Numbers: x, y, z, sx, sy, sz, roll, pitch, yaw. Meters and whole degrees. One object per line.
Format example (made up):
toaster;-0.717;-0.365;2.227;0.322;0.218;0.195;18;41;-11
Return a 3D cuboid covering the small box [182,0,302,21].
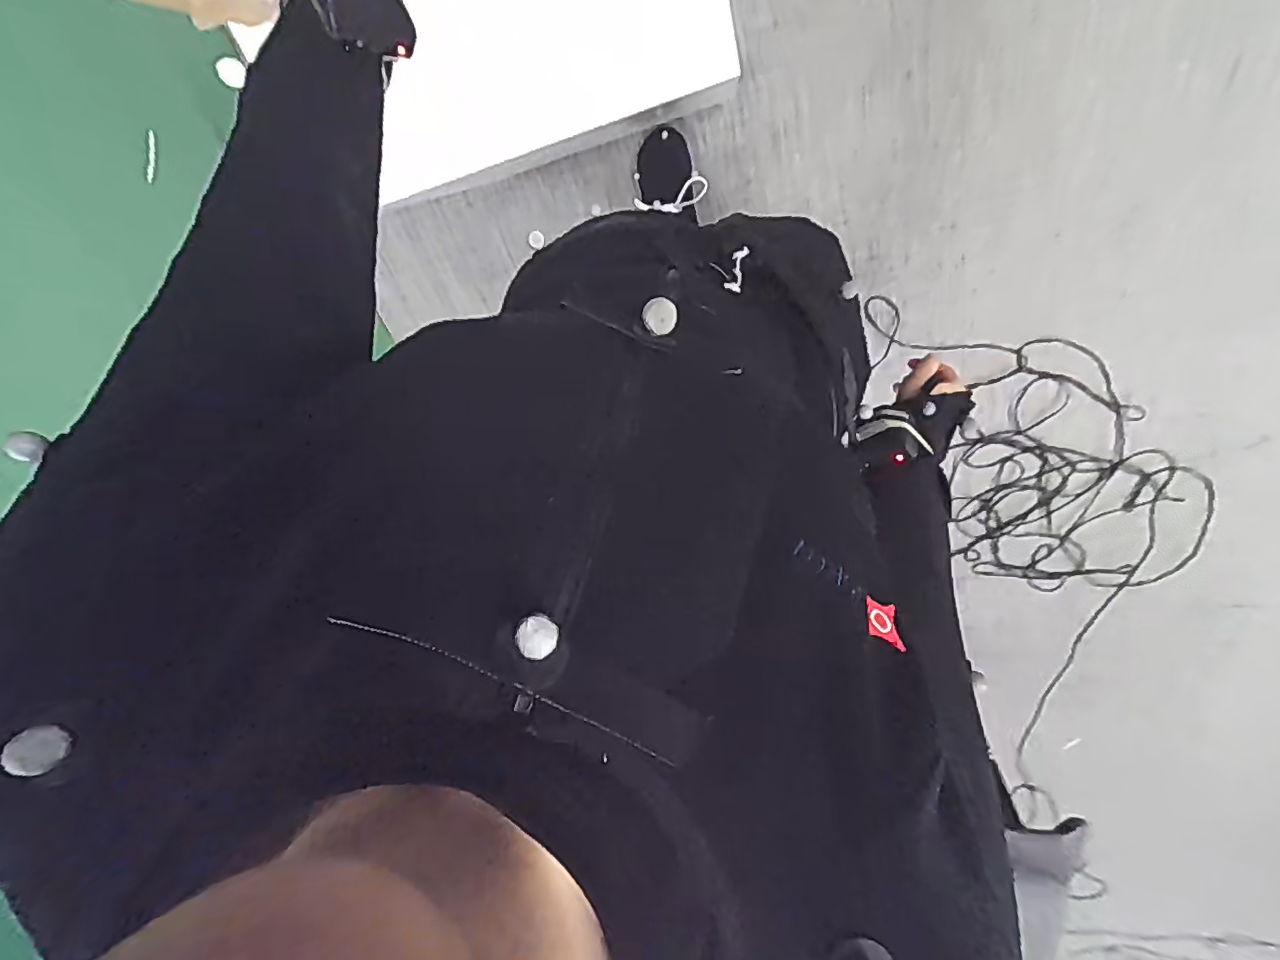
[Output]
small box;-0.364;-0.514;0.434;0.168;0.176;0.179;-10;122;14
